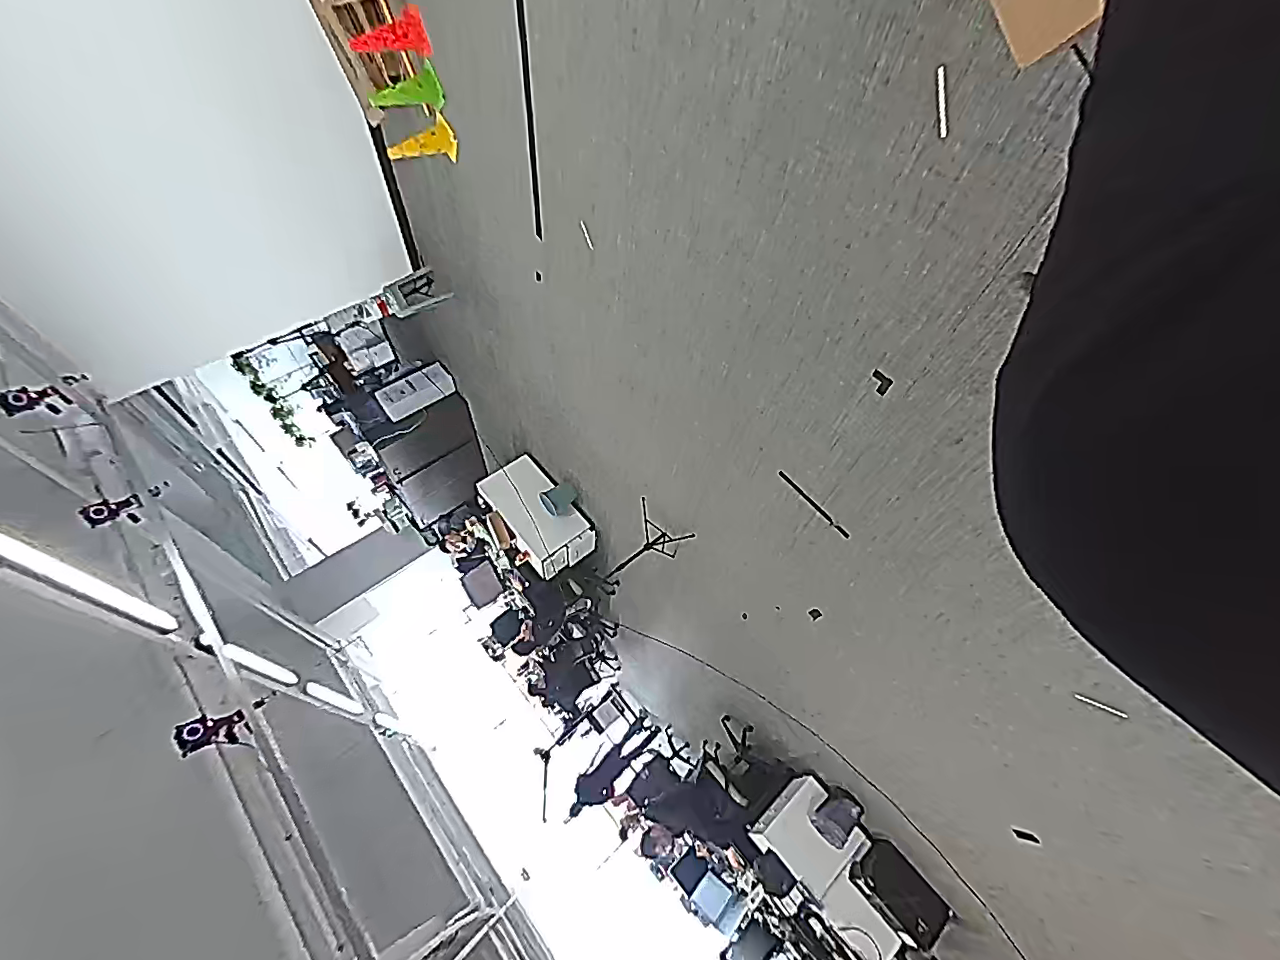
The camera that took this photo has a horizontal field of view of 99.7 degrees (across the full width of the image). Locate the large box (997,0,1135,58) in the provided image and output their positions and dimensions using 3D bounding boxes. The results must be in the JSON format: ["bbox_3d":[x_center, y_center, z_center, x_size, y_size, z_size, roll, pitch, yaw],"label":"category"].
[{"bbox_3d":[0.725,-0.890,0.720,0.320,0.320,0.408,58,155,-10],"label":"large box"}]
